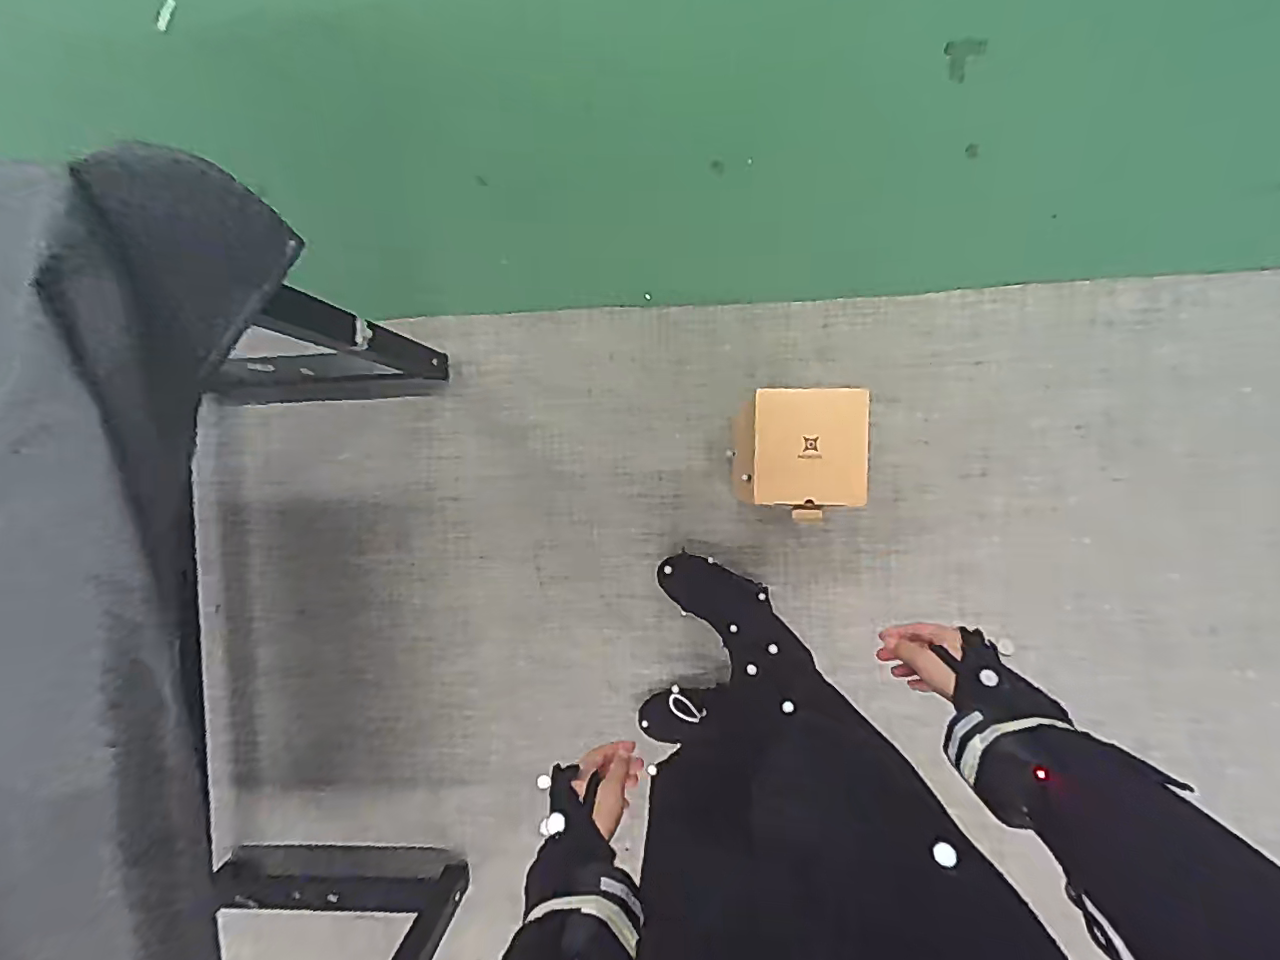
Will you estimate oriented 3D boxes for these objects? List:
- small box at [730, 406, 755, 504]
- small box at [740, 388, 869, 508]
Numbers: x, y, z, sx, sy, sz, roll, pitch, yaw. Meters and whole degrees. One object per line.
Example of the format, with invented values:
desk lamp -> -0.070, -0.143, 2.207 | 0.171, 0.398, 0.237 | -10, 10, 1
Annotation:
small box -> 0.263, -0.050, 1.031 | 0.168, 0.176, 0.179 | -1, 93, 5
small box -> 0.253, -0.048, 0.867 | 0.168, 0.176, 0.179 | 1, 92, 4
